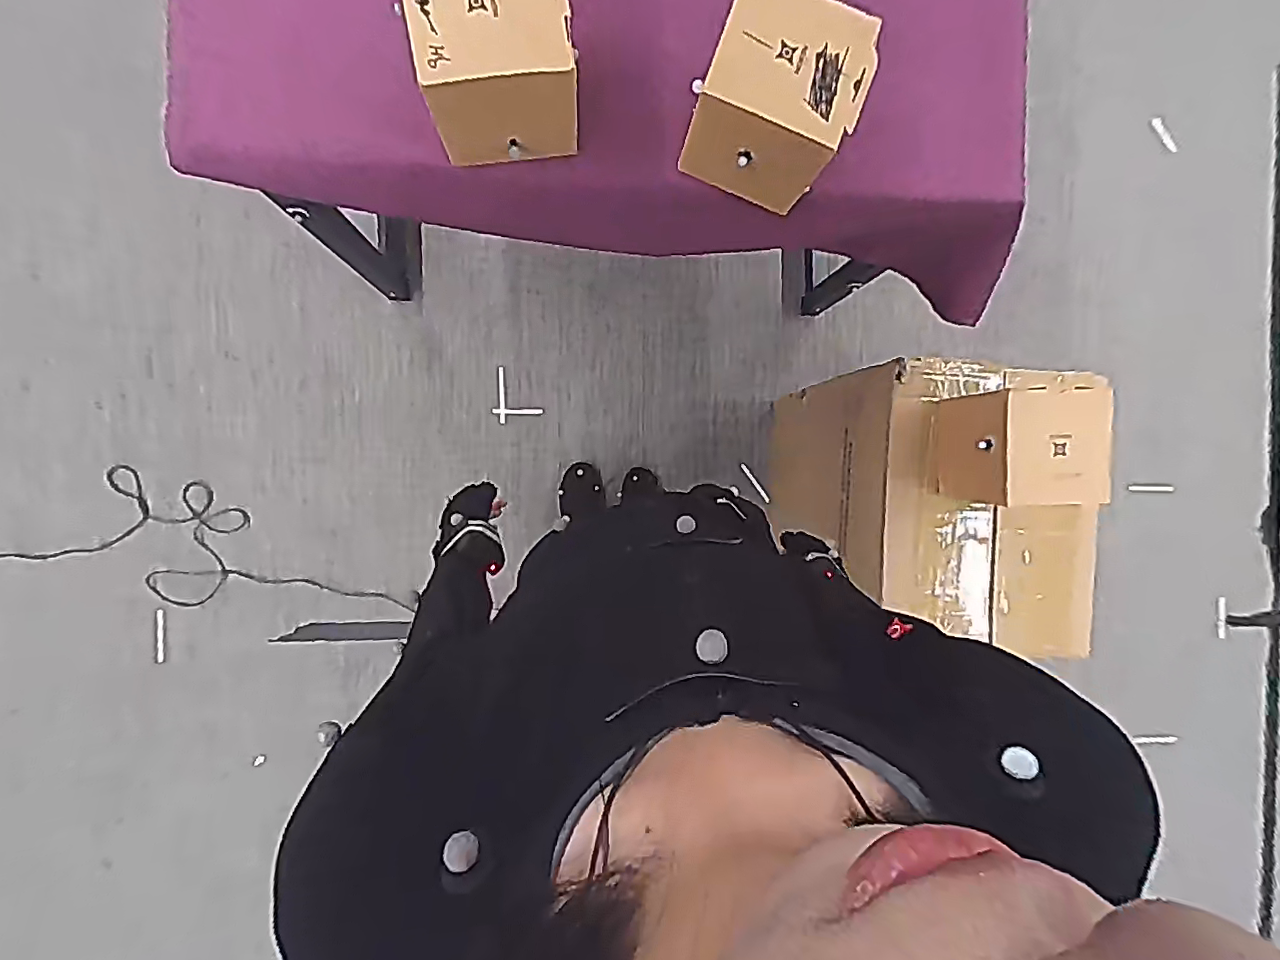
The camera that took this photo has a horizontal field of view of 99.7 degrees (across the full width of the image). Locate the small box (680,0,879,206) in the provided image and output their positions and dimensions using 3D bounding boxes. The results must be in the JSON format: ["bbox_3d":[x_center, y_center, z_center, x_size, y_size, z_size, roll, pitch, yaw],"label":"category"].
[{"bbox_3d":[0.170,-0.496,0.712,0.179,0.176,0.168,20,88,-5],"label":"small box"}]

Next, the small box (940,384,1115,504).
[{"bbox_3d":[0.612,-0.055,0.872,0.168,0.176,0.179,-2,93,-3],"label":"small box"}]

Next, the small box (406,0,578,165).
[{"bbox_3d":[-0.178,-0.526,0.676,0.179,0.176,0.168,-10,91,-6],"label":"small box"}]
